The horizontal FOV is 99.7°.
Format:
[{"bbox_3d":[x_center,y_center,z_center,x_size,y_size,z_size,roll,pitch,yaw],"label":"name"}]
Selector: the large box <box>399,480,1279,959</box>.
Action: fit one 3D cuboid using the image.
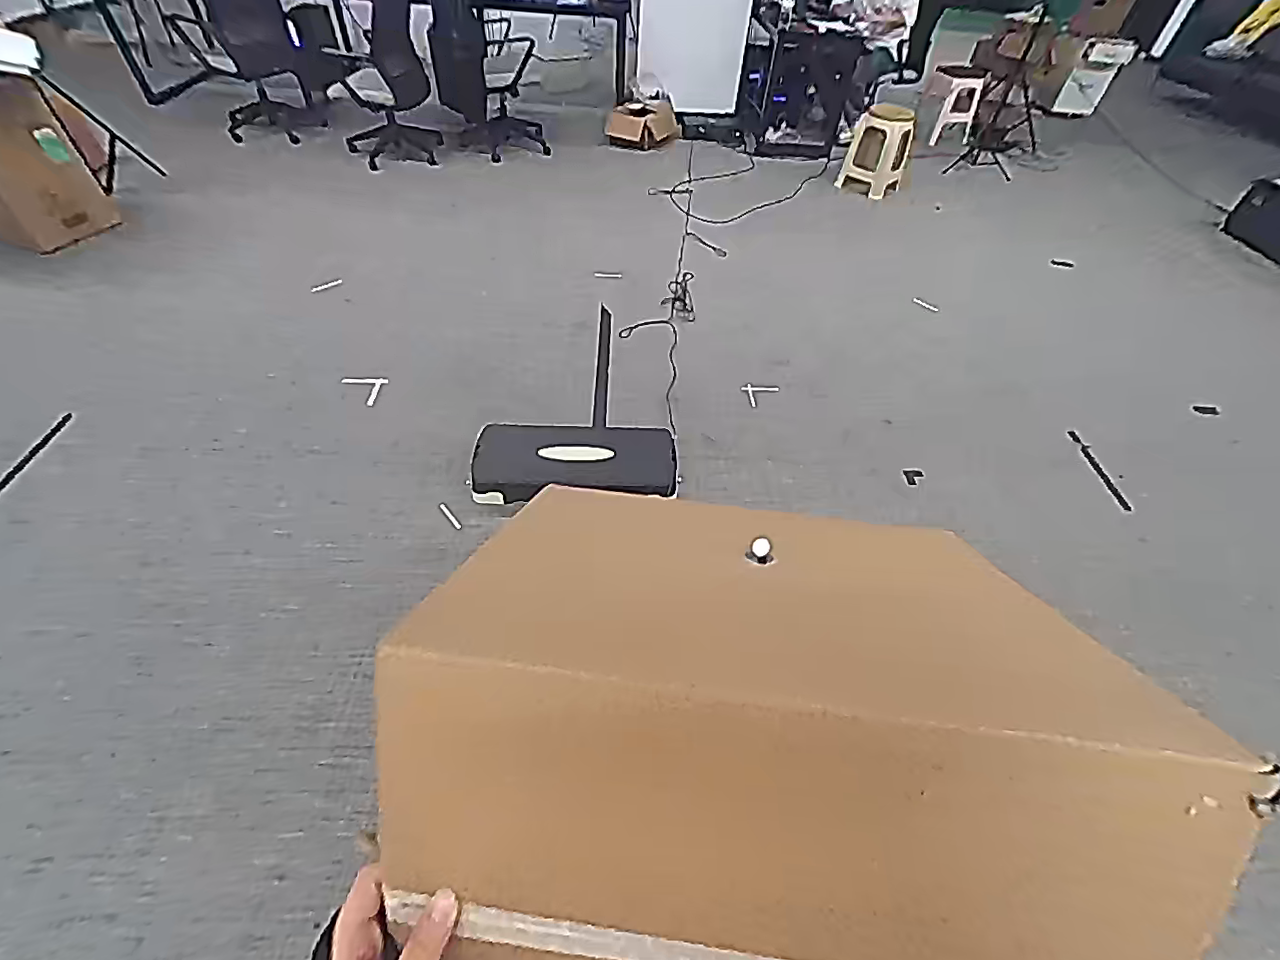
[{"bbox_3d":[0.082,0.193,0.425,0.408,0.320,0.320,6,15,4],"label":"large box"}]
